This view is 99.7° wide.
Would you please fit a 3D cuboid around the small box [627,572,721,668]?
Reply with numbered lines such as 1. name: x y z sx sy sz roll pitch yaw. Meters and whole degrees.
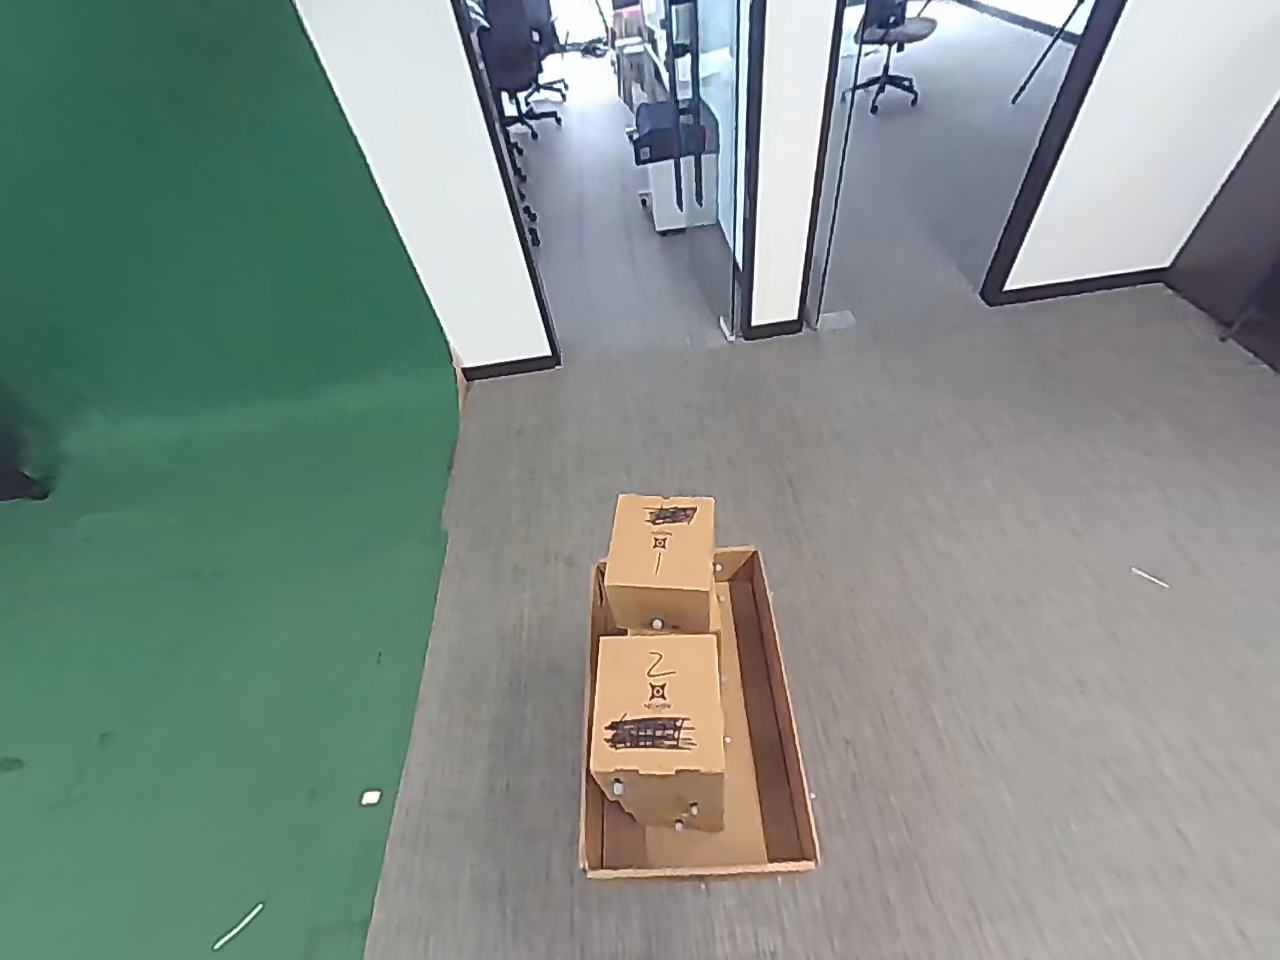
1. small box: 0.063 0.246 1.051 0.168 0.176 0.179 -6 51 3

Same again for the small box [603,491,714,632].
1. small box: 0.040 0.139 0.929 0.168 0.176 0.179 2 52 9

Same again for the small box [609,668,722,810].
1. small box: 0.051 0.429 0.891 0.168 0.176 0.179 -1 48 7
